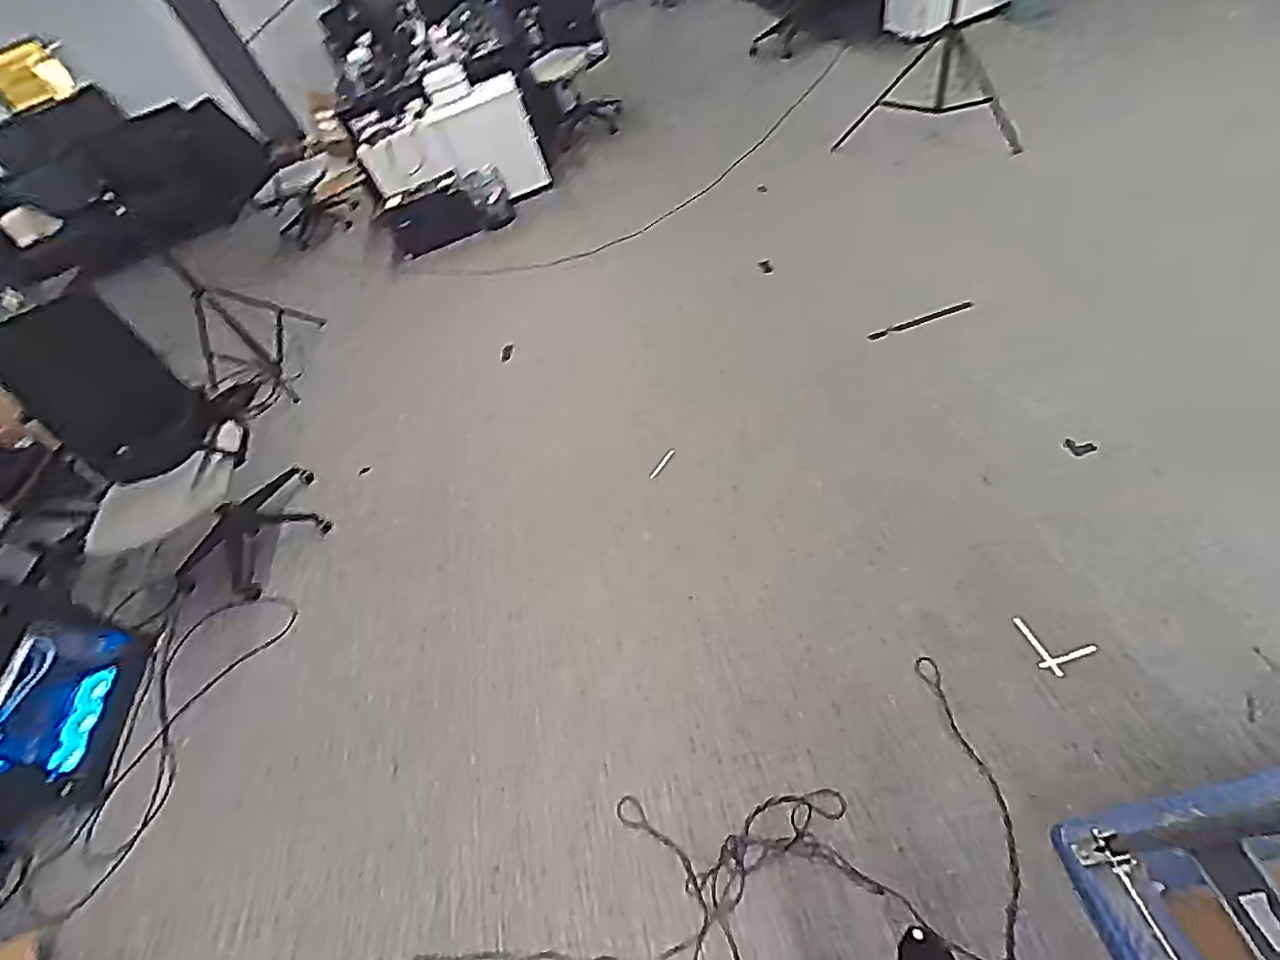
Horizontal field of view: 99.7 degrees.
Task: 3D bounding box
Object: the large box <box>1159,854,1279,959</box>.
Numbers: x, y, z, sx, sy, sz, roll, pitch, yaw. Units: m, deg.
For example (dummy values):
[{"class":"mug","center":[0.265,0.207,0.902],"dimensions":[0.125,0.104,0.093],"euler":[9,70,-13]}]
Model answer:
[{"class":"large box","center":[1.013,0.700,0.659],"dimensions":[0.320,0.320,0.408],"euler":[-21,50,2]}]
